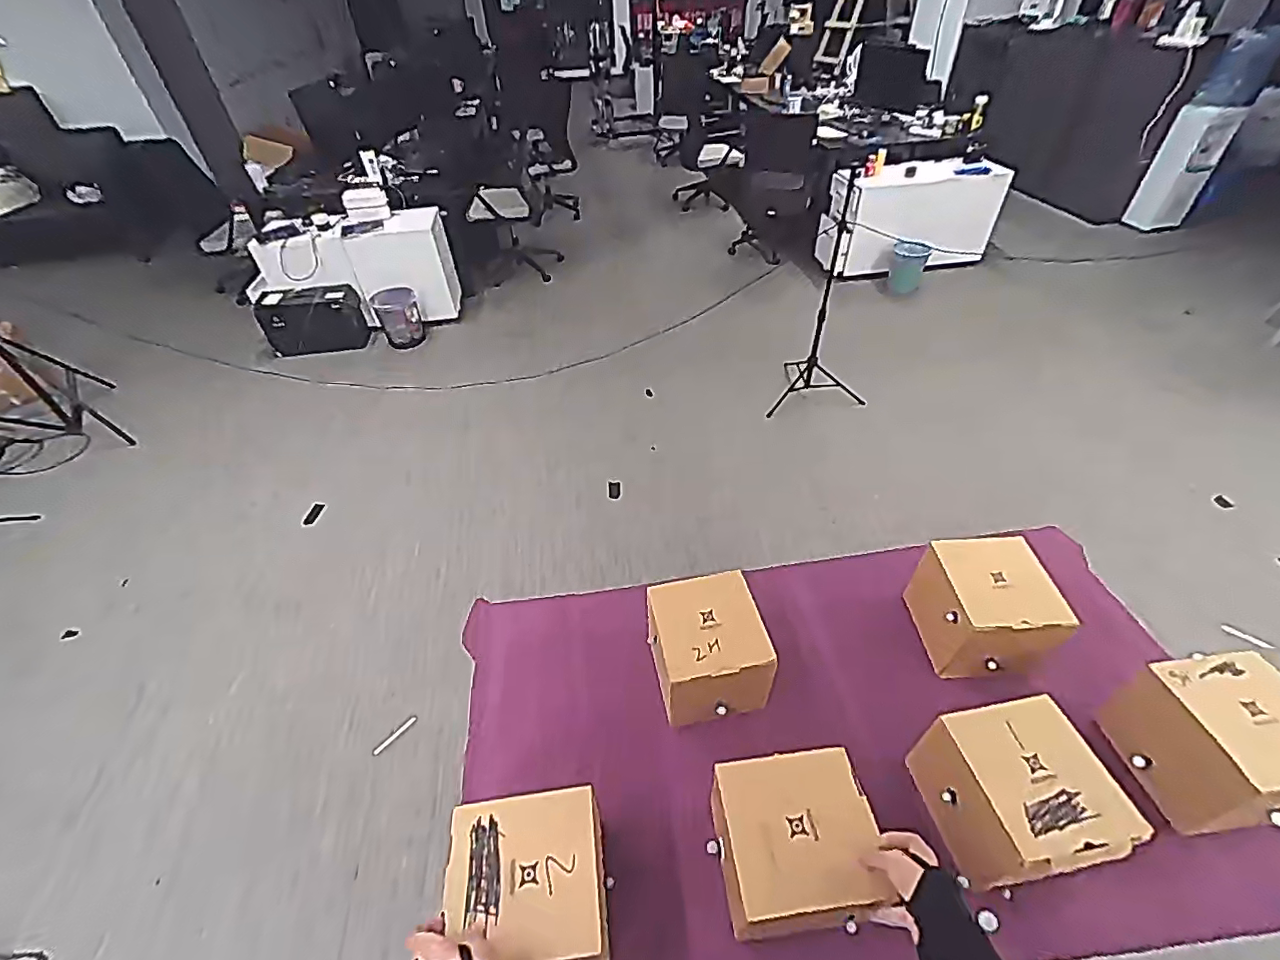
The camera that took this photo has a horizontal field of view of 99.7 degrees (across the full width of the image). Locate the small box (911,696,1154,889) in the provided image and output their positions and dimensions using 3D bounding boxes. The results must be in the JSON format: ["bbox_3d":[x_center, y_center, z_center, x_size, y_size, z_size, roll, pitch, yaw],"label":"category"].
[{"bbox_3d":[0.503,0.424,0.729,0.168,0.176,0.179,-8,42,-5],"label":"small box"}]

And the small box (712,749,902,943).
[{"bbox_3d":[0.197,0.472,0.699,0.179,0.176,0.168,-6,42,-3],"label":"small box"}]

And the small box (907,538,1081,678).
[{"bbox_3d":[0.596,0.223,0.942,0.168,0.176,0.179,-3,44,1],"label":"small box"}]

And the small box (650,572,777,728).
[{"bbox_3d":[0.113,0.284,0.908,0.168,0.176,0.179,-10,44,-6],"label":"small box"}]

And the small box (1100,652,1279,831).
[{"bbox_3d":[0.820,0.371,0.760,0.168,0.176,0.179,-6,41,-2],"label":"small box"}]
